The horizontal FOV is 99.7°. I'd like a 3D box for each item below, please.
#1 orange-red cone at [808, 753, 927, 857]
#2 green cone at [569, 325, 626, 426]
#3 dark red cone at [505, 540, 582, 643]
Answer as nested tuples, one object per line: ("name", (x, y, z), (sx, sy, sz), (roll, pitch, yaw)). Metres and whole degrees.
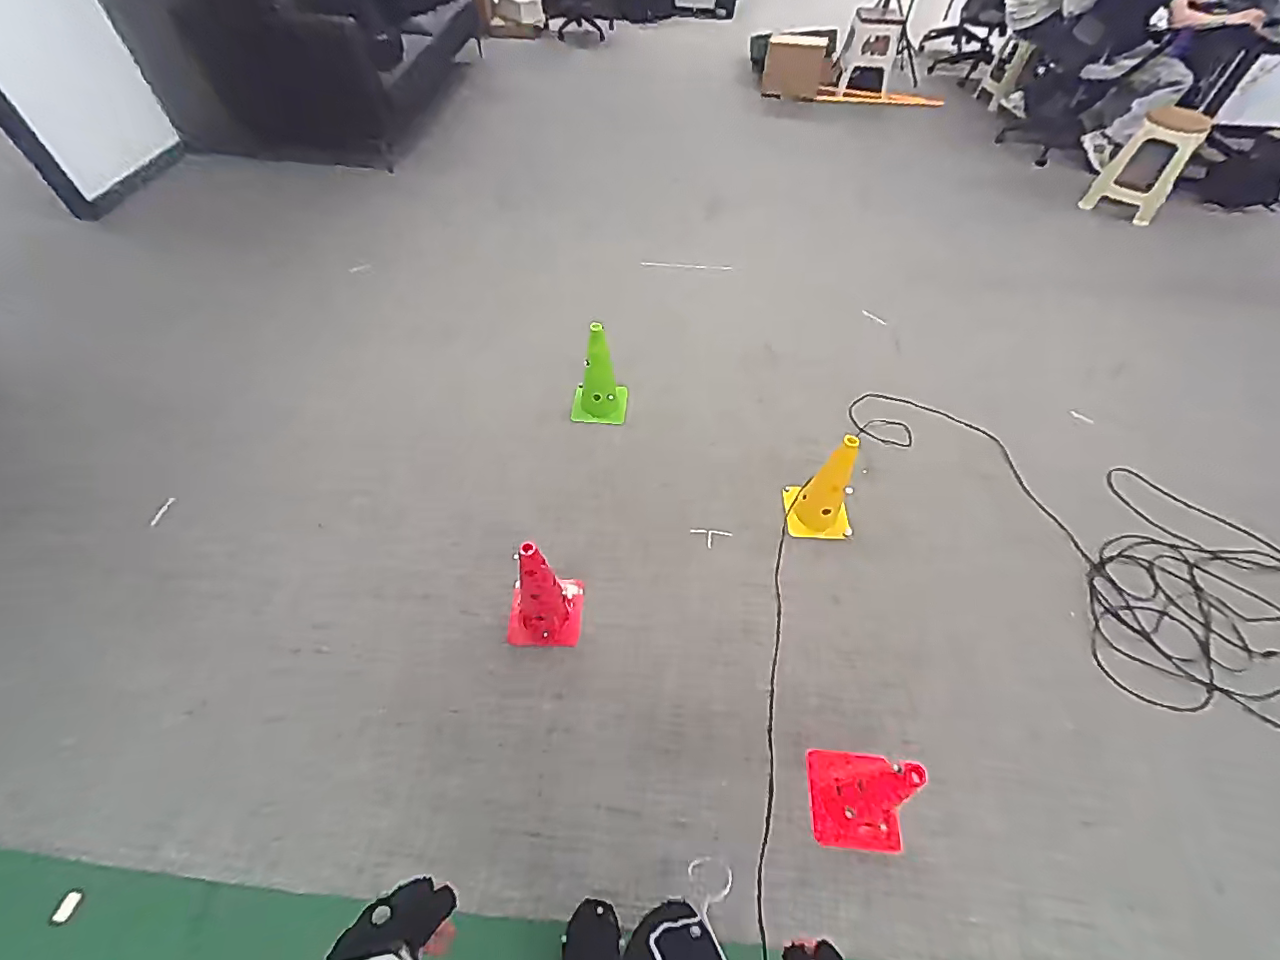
("orange-red cone", (0.503, 0.650, 1.133), (0.198, 0.360, 0.199), (6, 52, 2))
("green cone", (-0.152, -0.385, 1.916), (0.202, 0.368, 0.200), (4, 53, 0))
("dark red cone", (-0.263, 0.264, 1.383), (0.202, 0.394, 0.201), (1, 54, -1))
